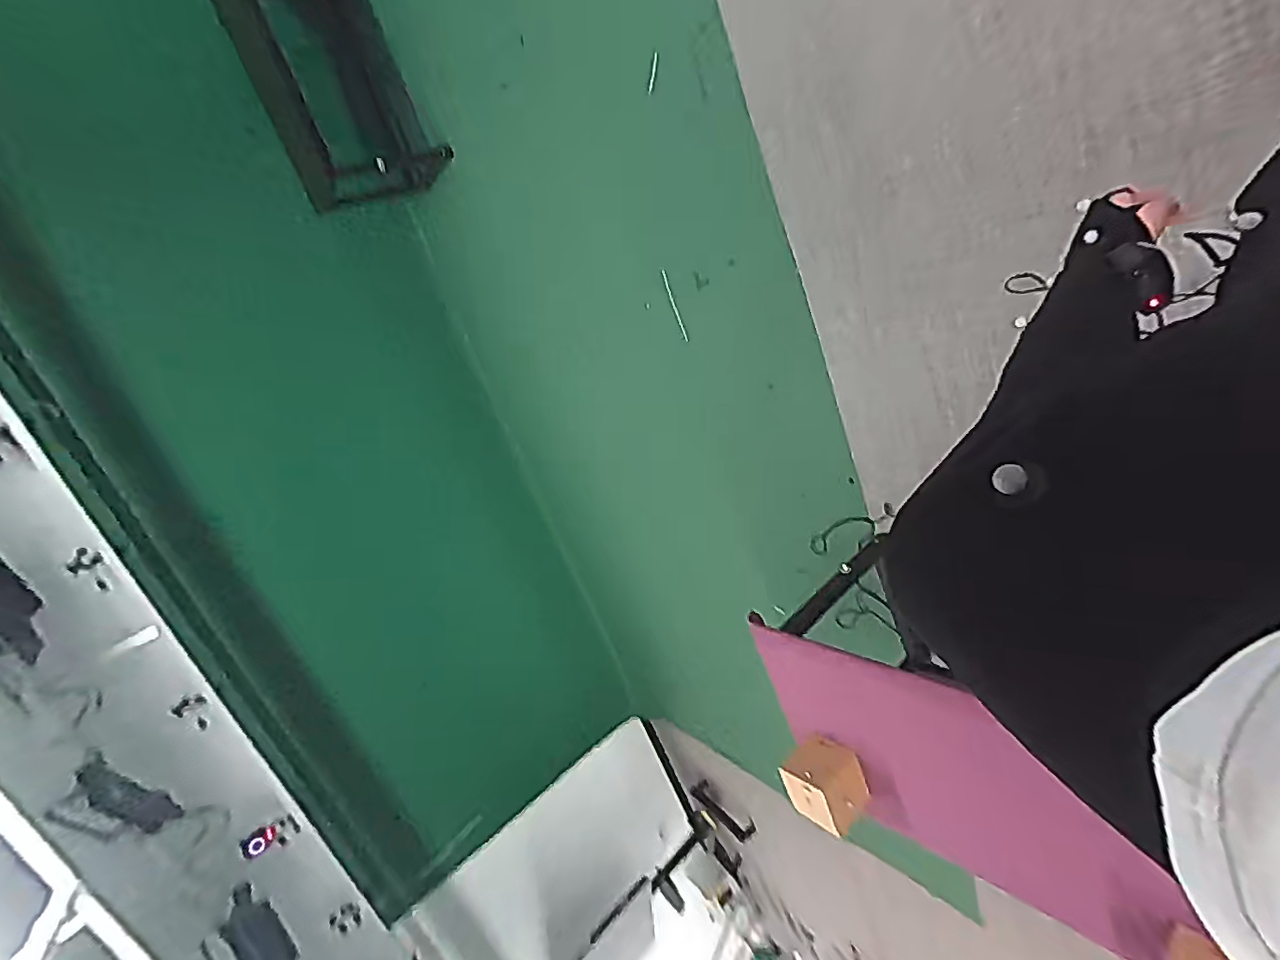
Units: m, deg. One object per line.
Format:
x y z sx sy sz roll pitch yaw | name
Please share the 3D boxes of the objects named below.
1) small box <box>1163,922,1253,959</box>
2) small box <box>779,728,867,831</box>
1.040 0.950 0.954 0.168 0.176 0.179 5 120 56 | small box
0.559 0.901 1.641 0.168 0.176 0.179 -1 116 56 | small box
